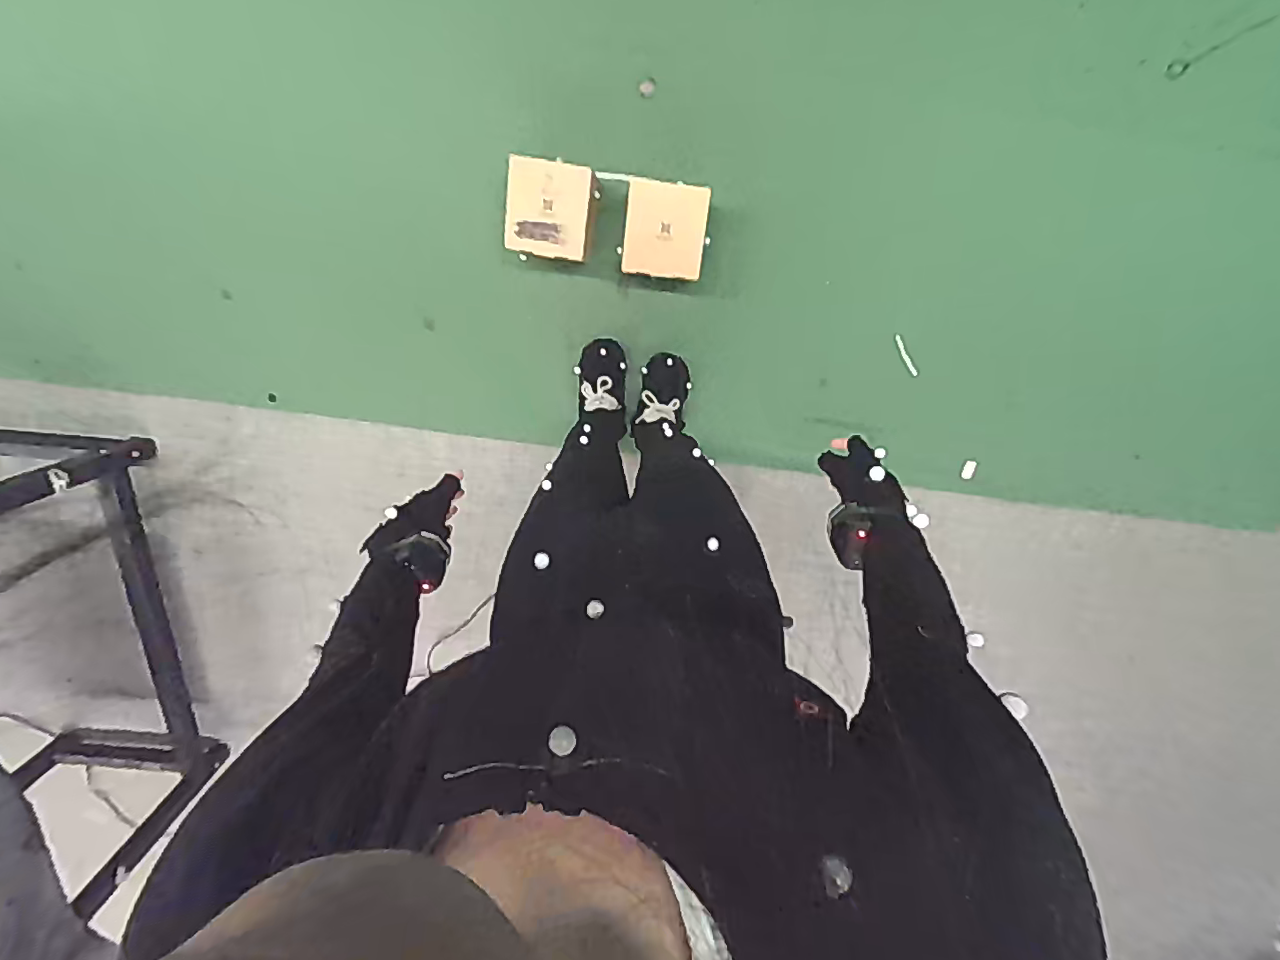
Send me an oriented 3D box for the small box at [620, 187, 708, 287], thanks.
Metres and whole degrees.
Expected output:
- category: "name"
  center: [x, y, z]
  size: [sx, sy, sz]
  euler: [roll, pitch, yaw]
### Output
- category: "small box"
  center: [0.047, -0.529, 1.192]
  size: [0.168, 0.176, 0.179]
  euler: [6, 112, -2]
